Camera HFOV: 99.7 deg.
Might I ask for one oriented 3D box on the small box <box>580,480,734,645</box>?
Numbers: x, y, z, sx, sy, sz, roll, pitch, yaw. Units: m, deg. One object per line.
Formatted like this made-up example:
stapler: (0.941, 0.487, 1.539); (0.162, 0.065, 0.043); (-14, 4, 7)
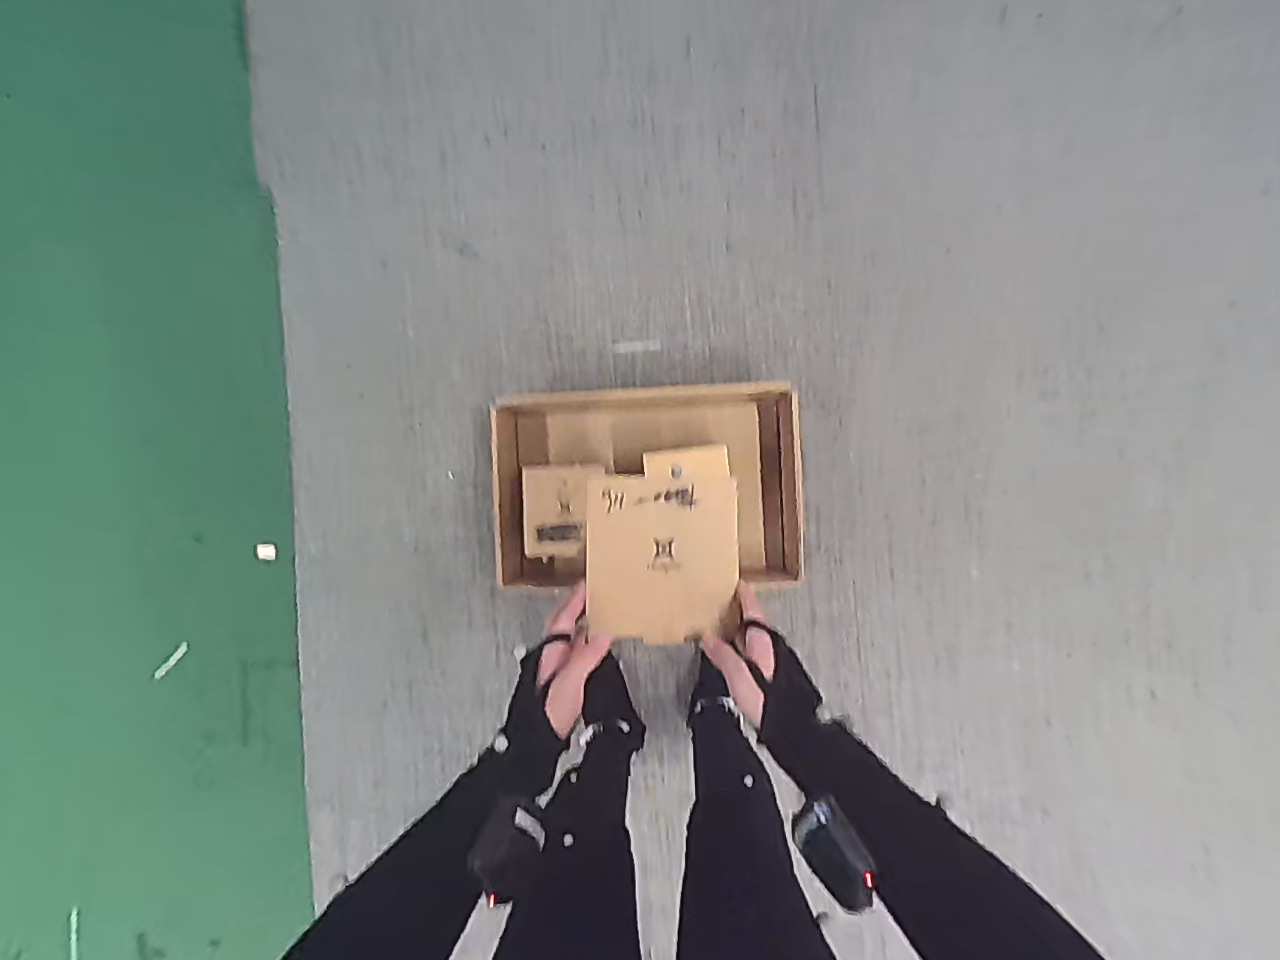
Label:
small box: (0.017, 0.092, 0.656); (0.168, 0.176, 0.179); (0, 86, -3)
